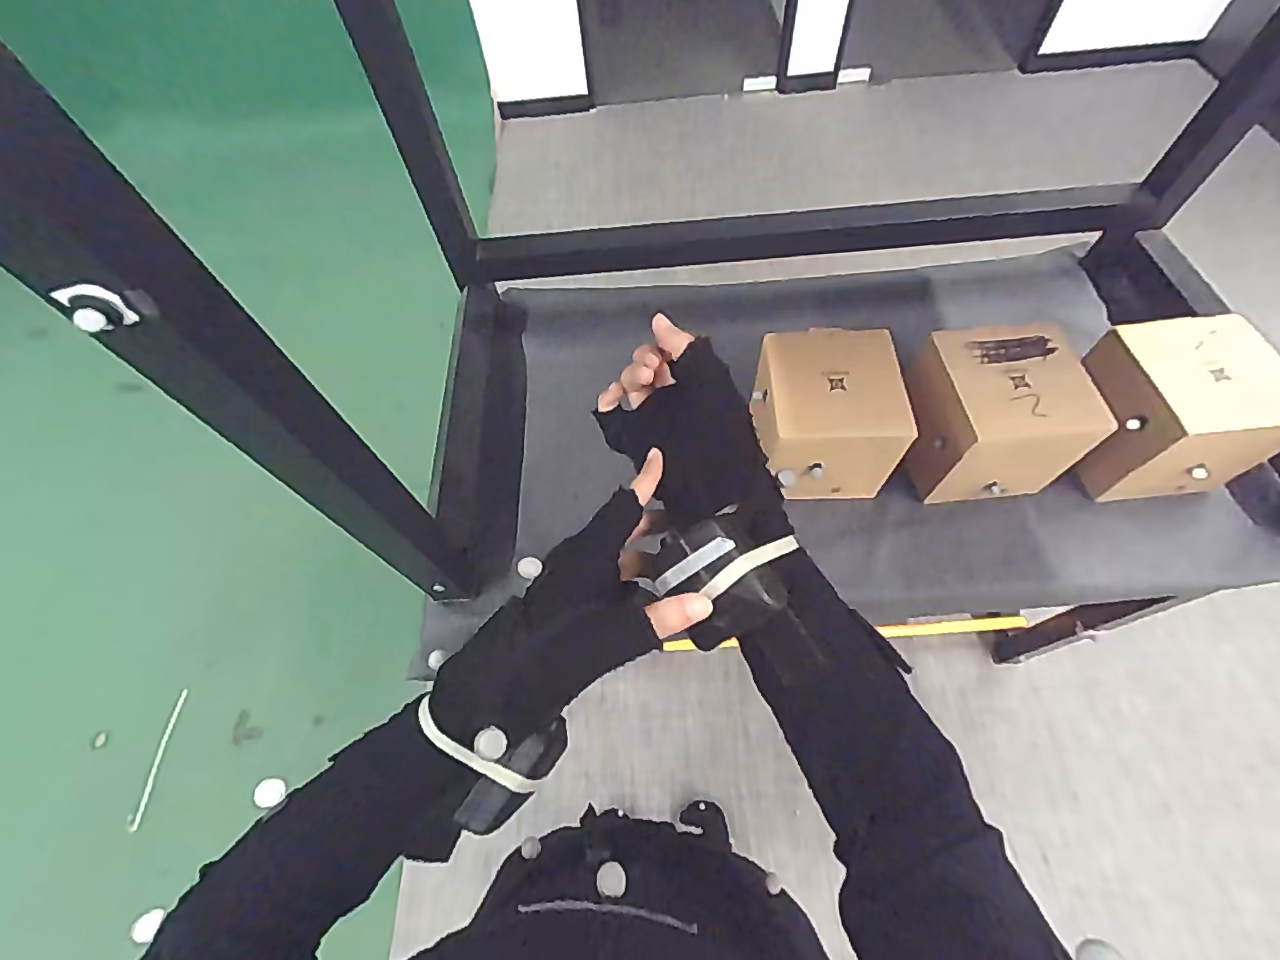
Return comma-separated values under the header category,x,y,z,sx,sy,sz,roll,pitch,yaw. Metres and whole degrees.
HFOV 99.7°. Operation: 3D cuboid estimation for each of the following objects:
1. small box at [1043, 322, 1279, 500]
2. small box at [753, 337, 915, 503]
category,x,y,z,sx,sy,sz,roll,pitch,yaw
small box,0.703,-0.083,0.729,0.168,0.176,0.179,-6,59,0
small box,0.256,-0.076,0.760,0.168,0.176,0.179,-1,60,3
